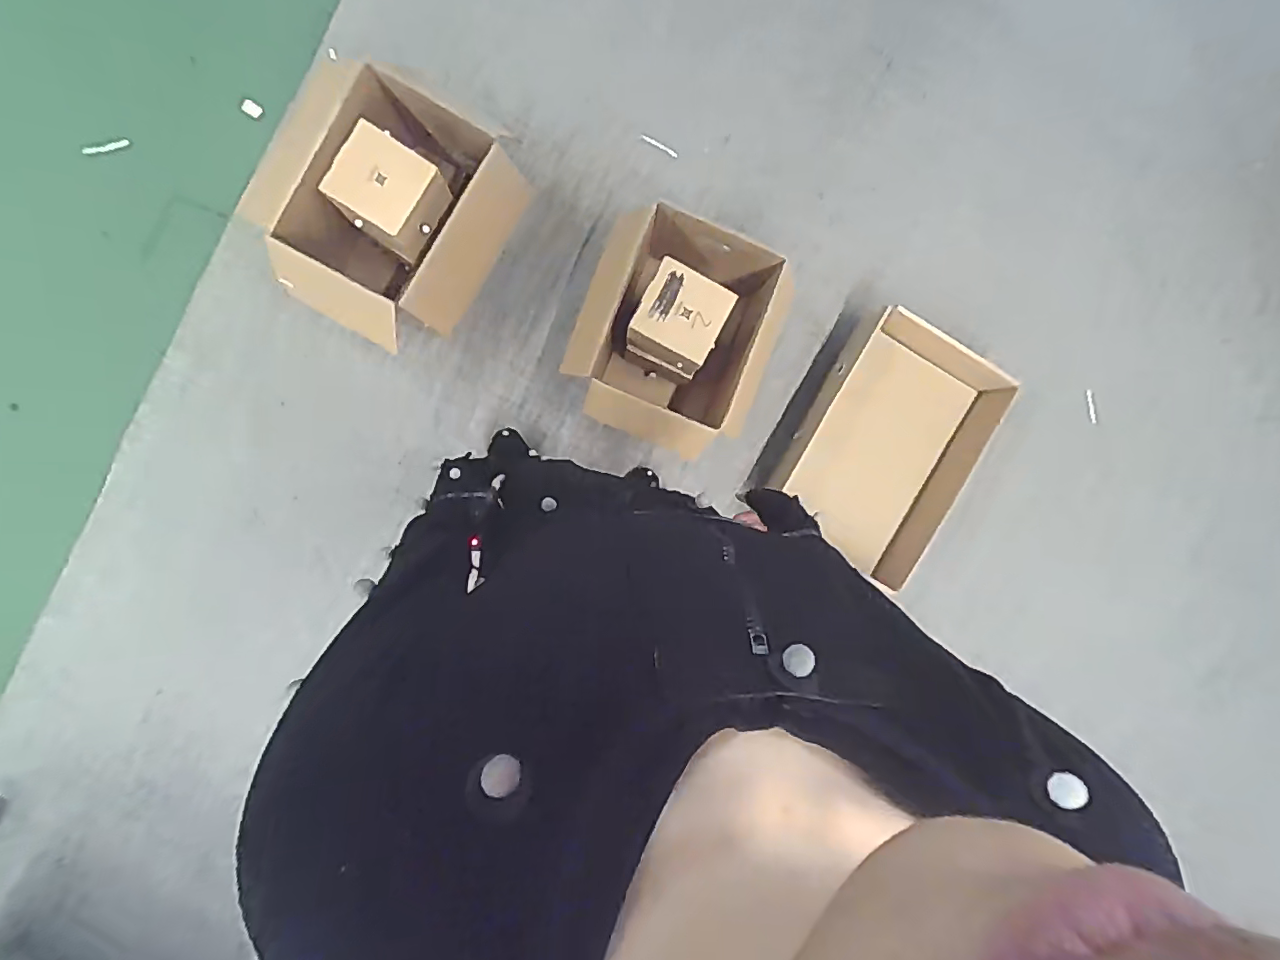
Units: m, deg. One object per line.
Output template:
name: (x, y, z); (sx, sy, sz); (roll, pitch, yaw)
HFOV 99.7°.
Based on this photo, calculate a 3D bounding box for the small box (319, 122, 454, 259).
small box: (-0.526, -0.600, 1.153); (0.179, 0.176, 0.168); (31, 89, -5)
